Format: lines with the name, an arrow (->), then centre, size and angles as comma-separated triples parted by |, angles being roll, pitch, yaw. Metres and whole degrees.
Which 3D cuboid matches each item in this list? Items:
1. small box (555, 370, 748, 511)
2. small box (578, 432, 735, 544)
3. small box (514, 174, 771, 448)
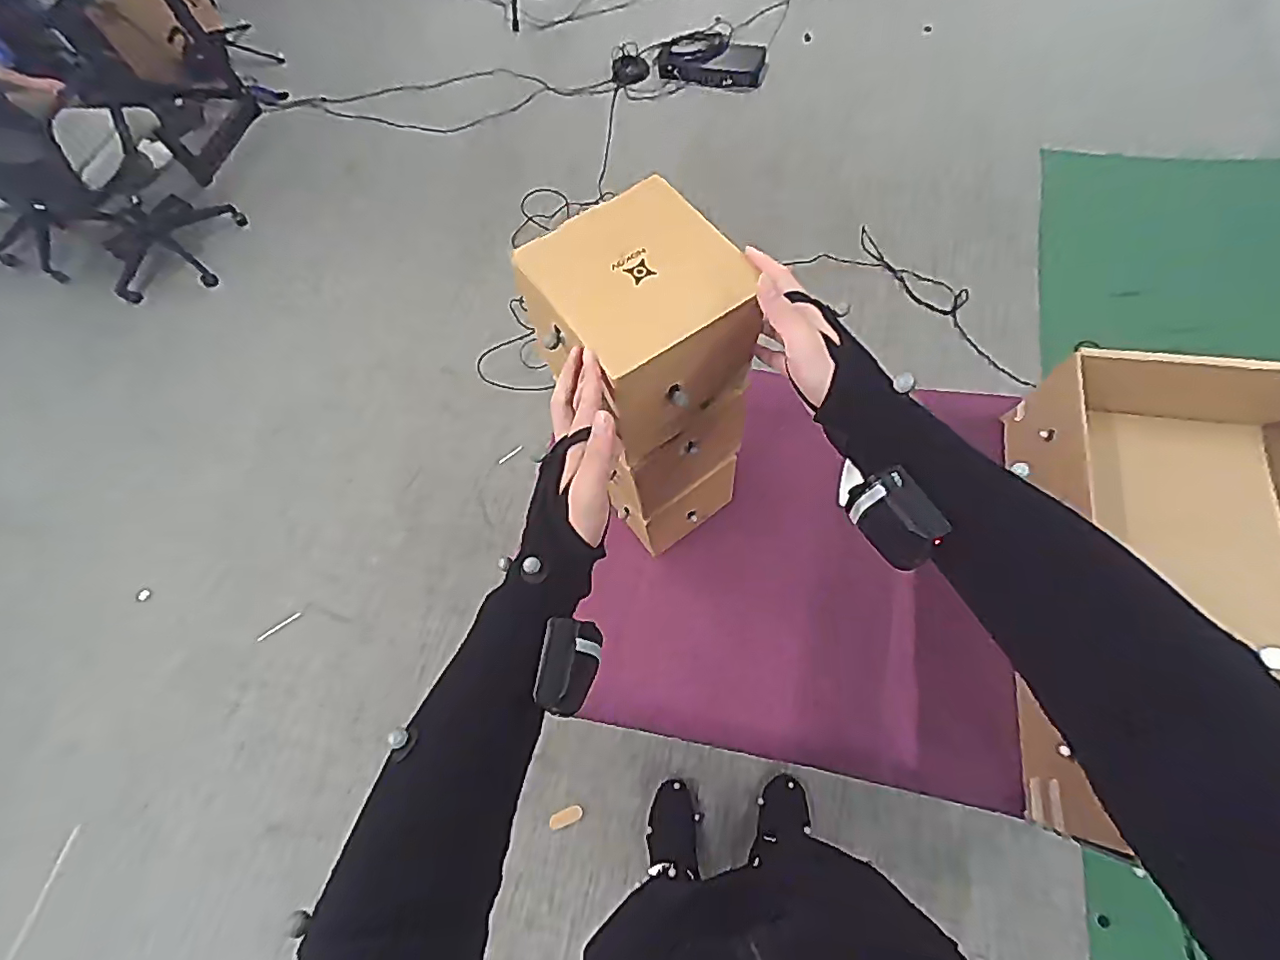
small box -> 0.019, -0.086, 0.706 | 0.179, 0.176, 0.168 | -35, 68, -9
small box -> 0.029, -0.017, 0.853 | 0.168, 0.176, 0.179 | -35, 67, -10
small box -> 0.004, -0.154, 0.545 | 0.168, 0.176, 0.179 | -33, 69, -10
